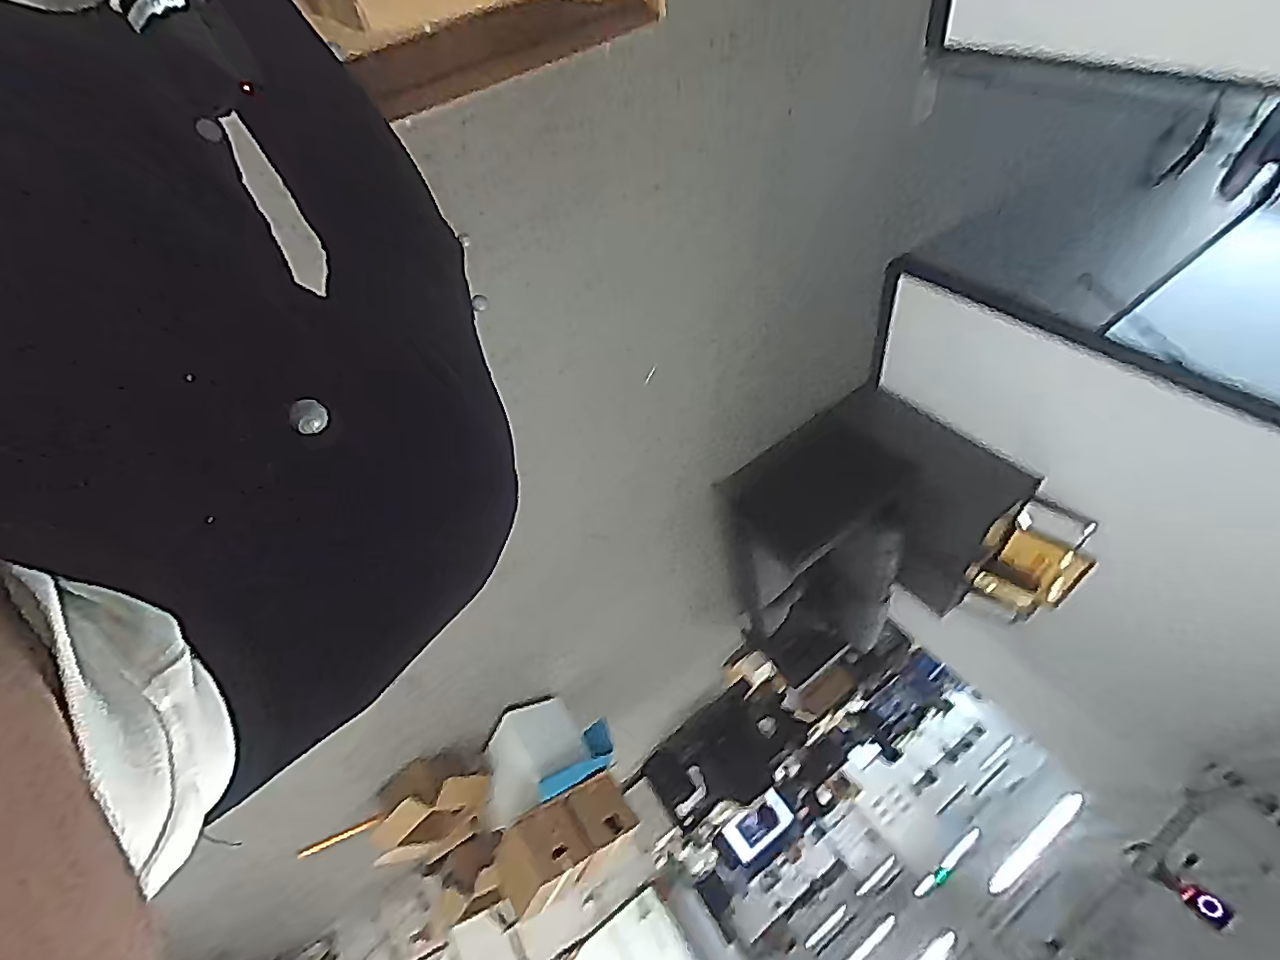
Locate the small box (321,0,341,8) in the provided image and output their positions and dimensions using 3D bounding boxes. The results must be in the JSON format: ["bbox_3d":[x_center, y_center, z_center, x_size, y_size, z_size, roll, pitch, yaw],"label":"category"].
[{"bbox_3d":[-0.380,-0.762,0.729,0.179,0.176,0.168,-32,143,-16],"label":"small box"}]

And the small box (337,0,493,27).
[{"bbox_3d":[-0.292,-0.661,0.636,0.179,0.176,0.168,-31,143,-17],"label":"small box"}]
